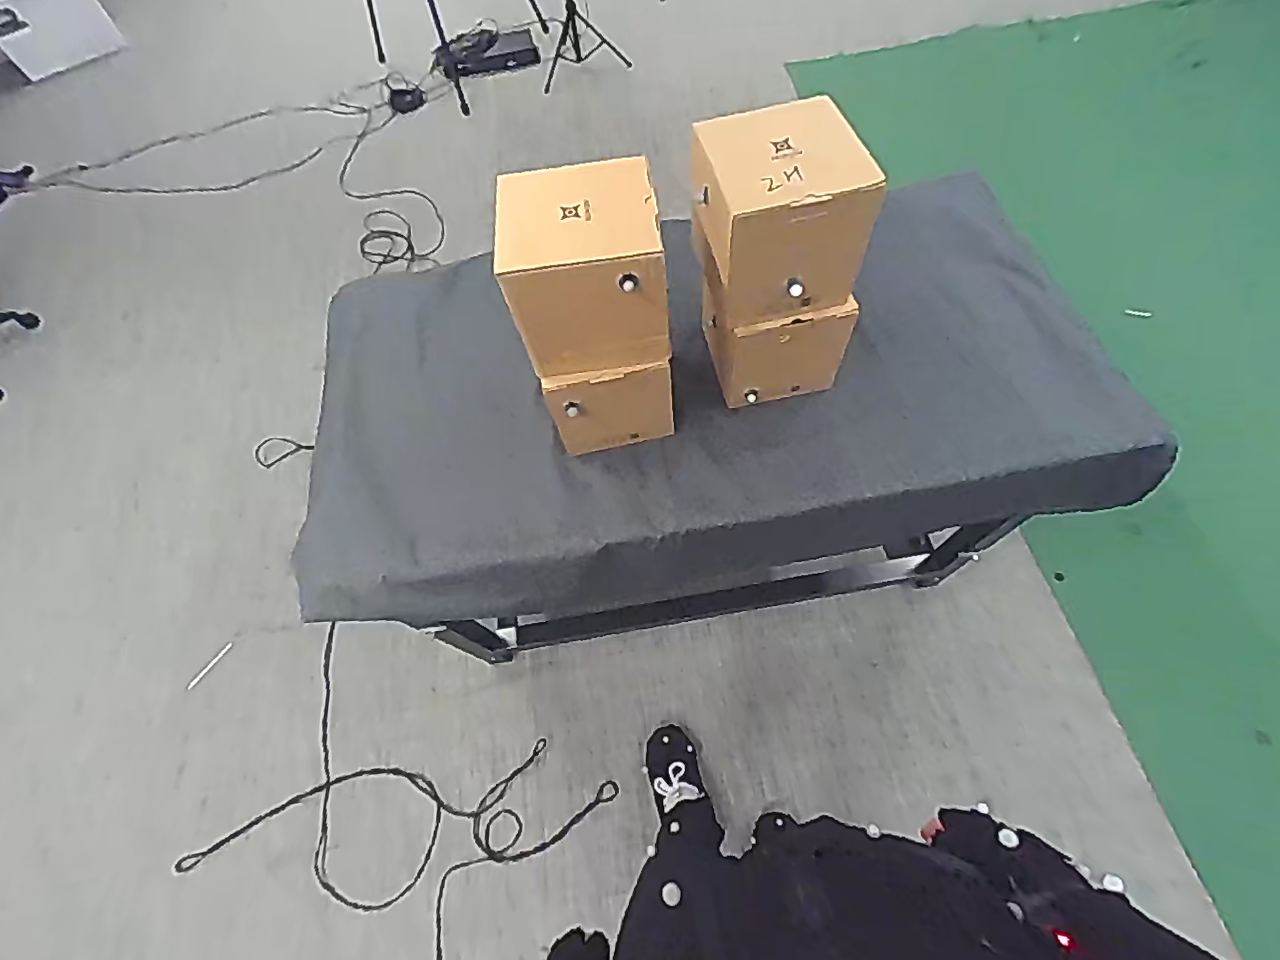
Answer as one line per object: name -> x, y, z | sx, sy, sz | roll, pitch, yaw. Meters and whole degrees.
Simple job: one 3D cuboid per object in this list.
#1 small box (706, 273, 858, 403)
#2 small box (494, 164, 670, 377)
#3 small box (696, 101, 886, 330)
small box -> 0.197, -0.231, 0.802 | 0.168, 0.176, 0.179 | -12, 61, 0
small box -> -0.062, -0.242, 0.652 | 0.179, 0.176, 0.168 | -7, 61, 1
small box -> 0.165, -0.317, 0.665 | 0.168, 0.176, 0.179 | -13, 63, 0
